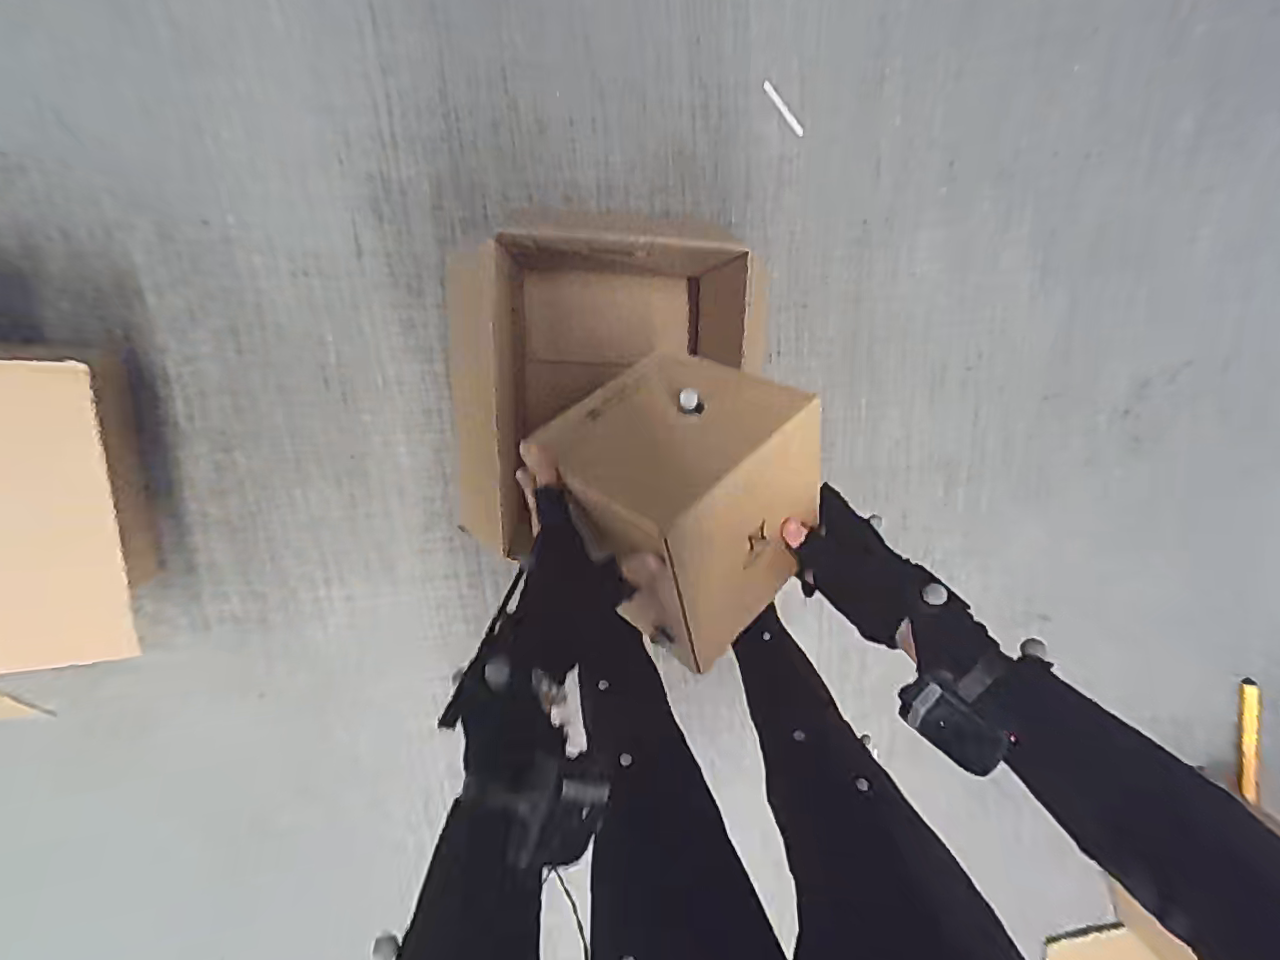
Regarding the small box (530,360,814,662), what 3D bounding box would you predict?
[{"bbox_3d":[0.030,0.011,0.468,0.168,0.176,0.179,-36,134,-25],"label":"small box"}]
